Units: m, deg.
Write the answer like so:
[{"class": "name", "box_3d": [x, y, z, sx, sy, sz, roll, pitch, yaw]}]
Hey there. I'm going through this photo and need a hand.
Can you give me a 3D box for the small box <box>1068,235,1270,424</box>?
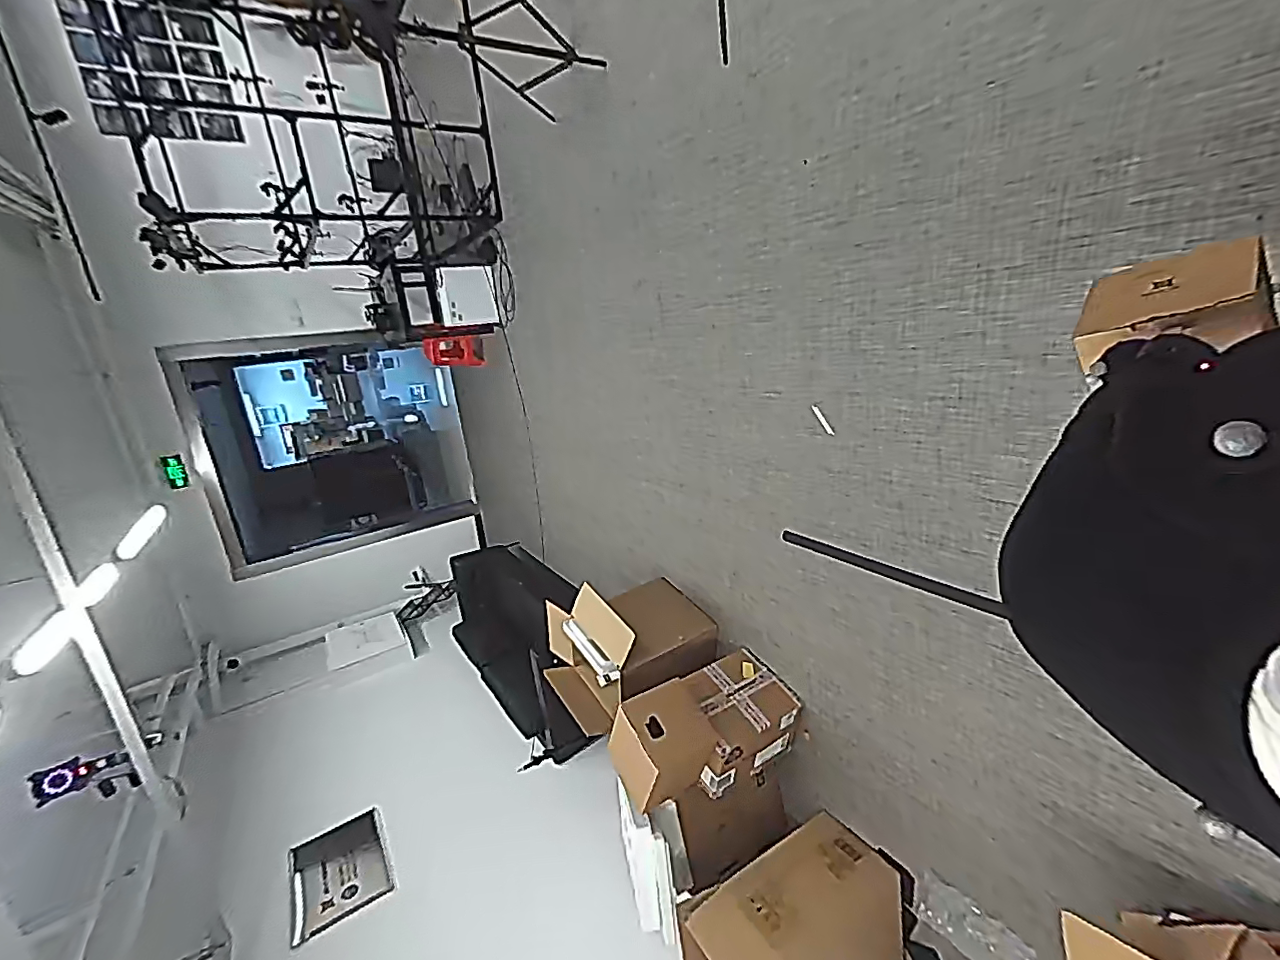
[{"class": "small box", "box_3d": [0.719, -0.189, 0.733, 0.168, 0.179, 0.176, -7, 124, 53]}]
